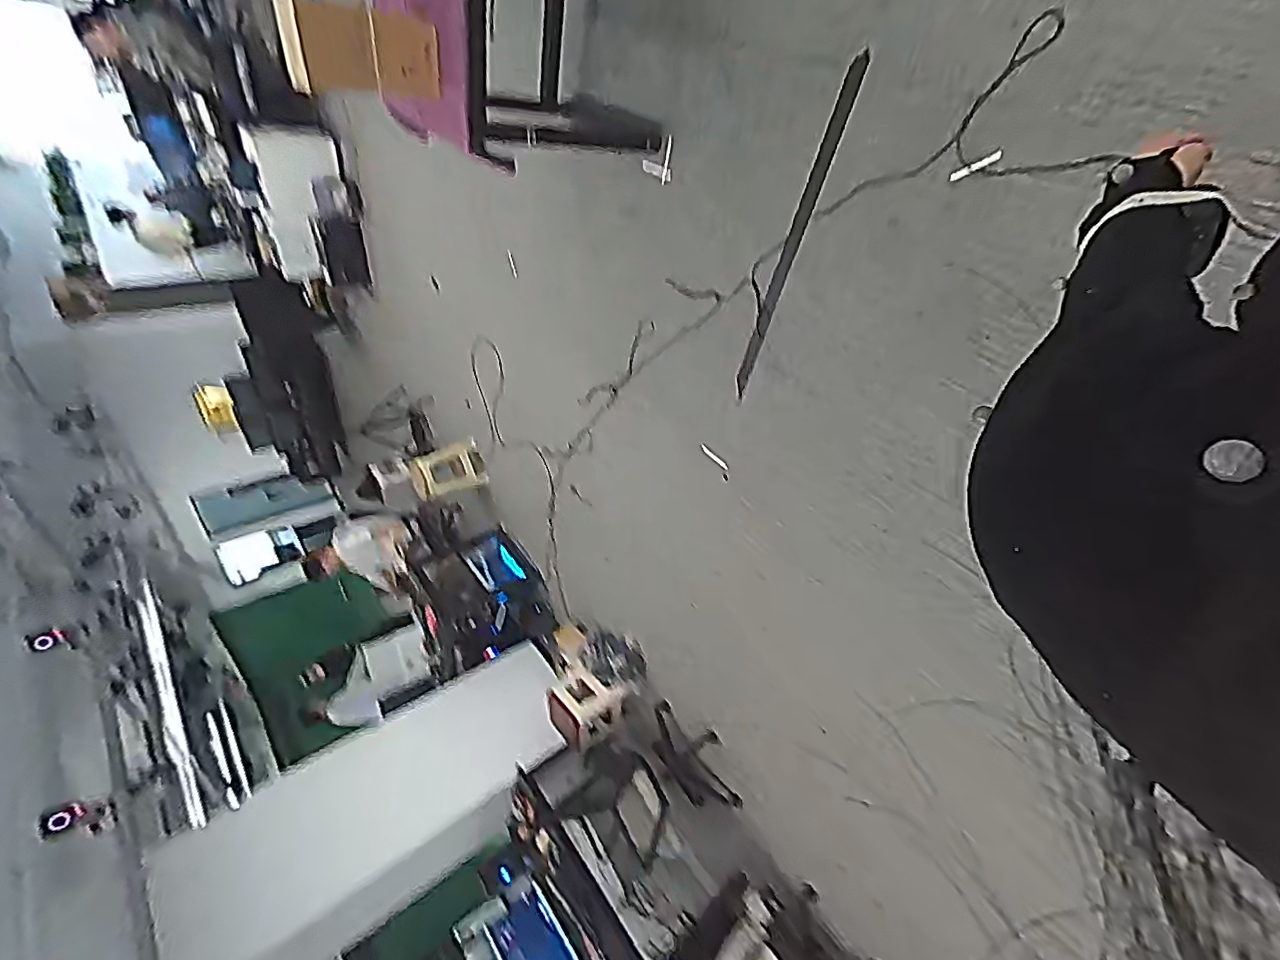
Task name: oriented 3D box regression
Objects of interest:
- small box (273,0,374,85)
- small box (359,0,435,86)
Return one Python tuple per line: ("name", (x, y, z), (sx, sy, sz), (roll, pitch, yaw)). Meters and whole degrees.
("small box", (-0.786, -1.111, 1.348), (0.168, 0.176, 0.179), (39, 136, 35))
("small box", (-0.657, -1.162, 1.435), (0.179, 0.176, 0.168), (41, 137, 33))
